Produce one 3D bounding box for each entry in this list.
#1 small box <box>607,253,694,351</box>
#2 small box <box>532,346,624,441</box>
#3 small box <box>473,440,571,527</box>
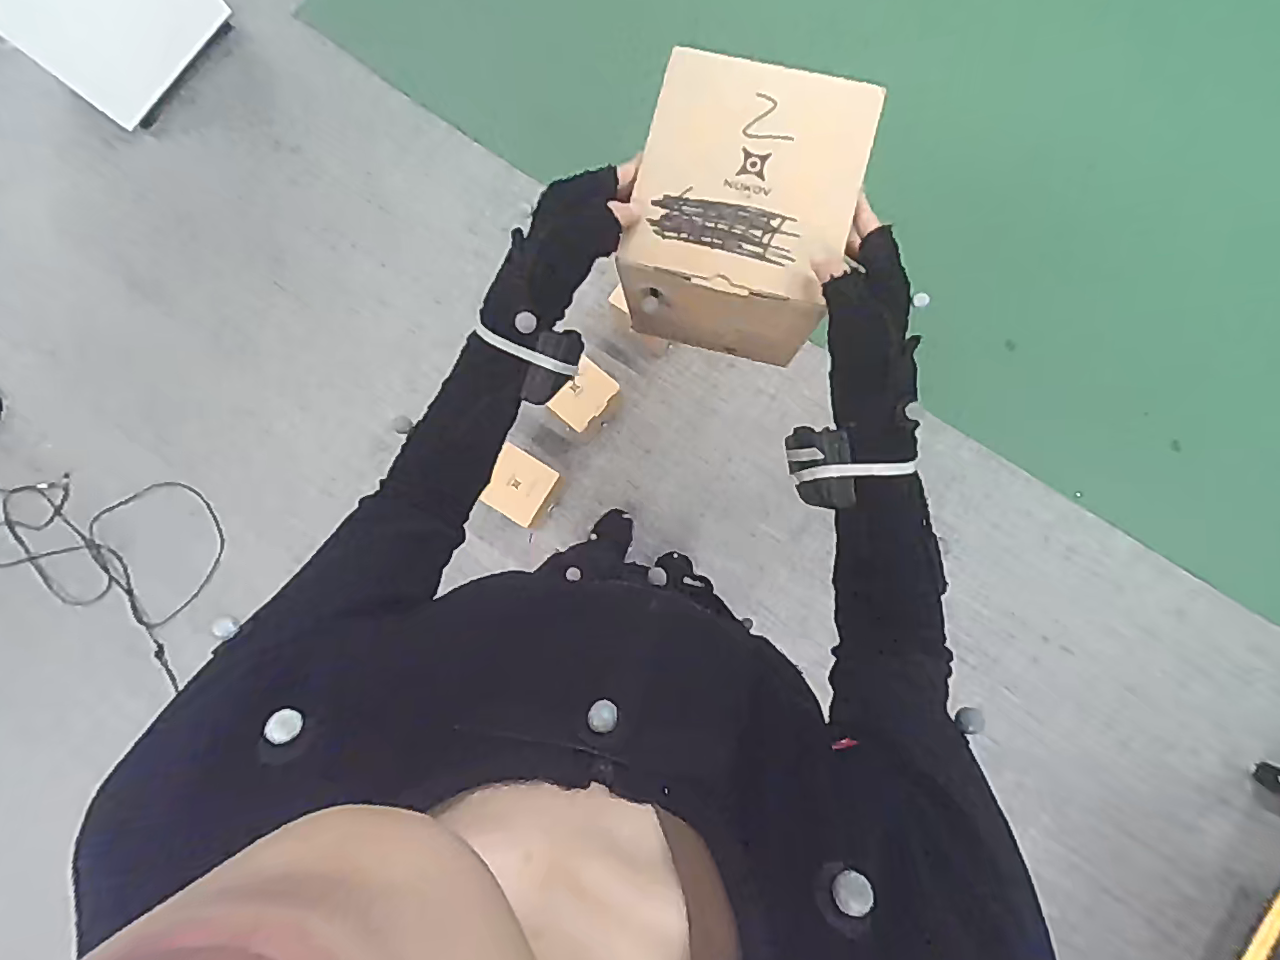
[{"bbox_3d":[0.033,-0.479,1.493,0.179,0.176,0.168,35,86,7],"label":"small box"},{"bbox_3d":[-0.161,-0.226,1.473,0.179,0.176,0.168,40,86,6],"label":"small box"},{"bbox_3d":[-0.310,0.017,1.452,0.179,0.176,0.168,31,88,5],"label":"small box"}]
